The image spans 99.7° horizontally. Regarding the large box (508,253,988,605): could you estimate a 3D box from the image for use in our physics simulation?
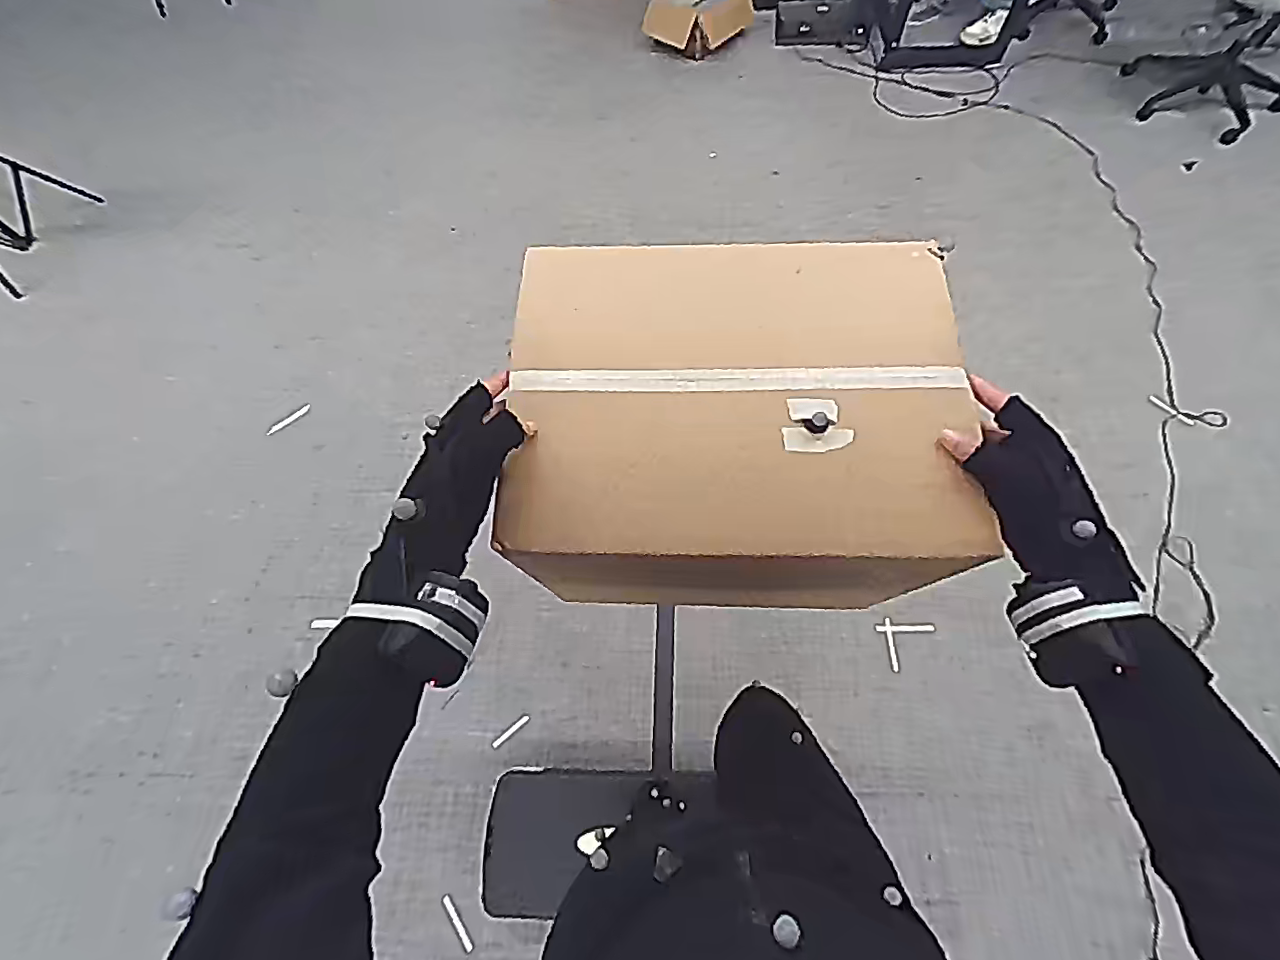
[{"bbox_3d":[0.090,-0.032,0.635,0.408,0.320,0.320,0,70,2],"label":"large box"}]
